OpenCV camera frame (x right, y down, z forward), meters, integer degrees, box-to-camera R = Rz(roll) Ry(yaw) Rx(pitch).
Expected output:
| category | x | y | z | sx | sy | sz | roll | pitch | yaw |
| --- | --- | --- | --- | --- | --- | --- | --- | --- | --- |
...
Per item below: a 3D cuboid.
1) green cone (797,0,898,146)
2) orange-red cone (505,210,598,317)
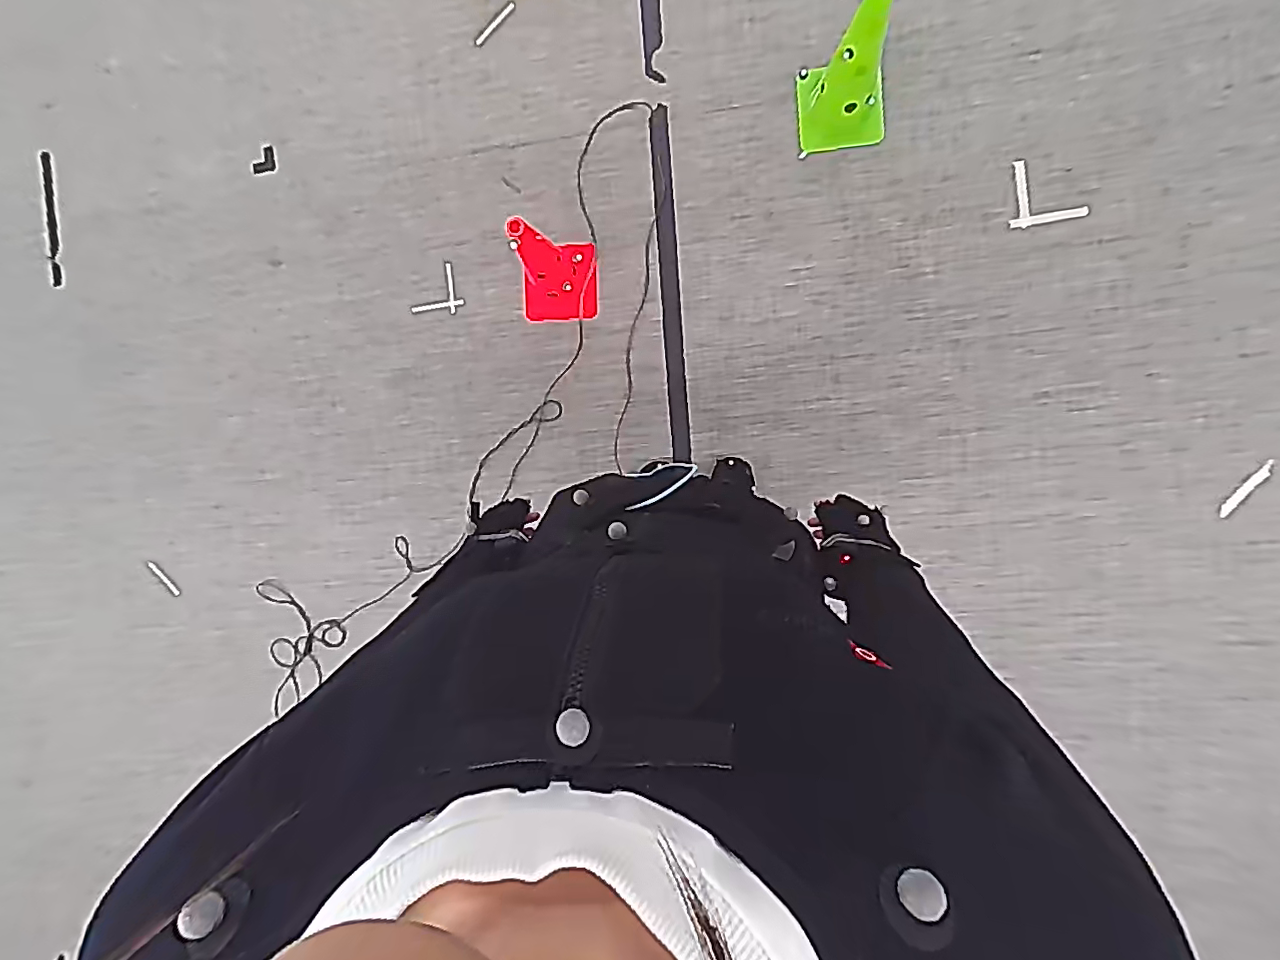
| category | x | y | z | sx | sy | sz | roll | pitch | yaw |
| --- | --- | --- | --- | --- | --- | --- | --- | --- | --- |
| green cone | 0.472 | -0.918 | 1.152 | 0.202 | 0.368 | 0.200 | -4 | 92 | 6 |
| orange-red cone | -0.234 | -0.529 | 1.264 | 0.199 | 0.360 | 0.198 | 0 | 91 | 8 |
